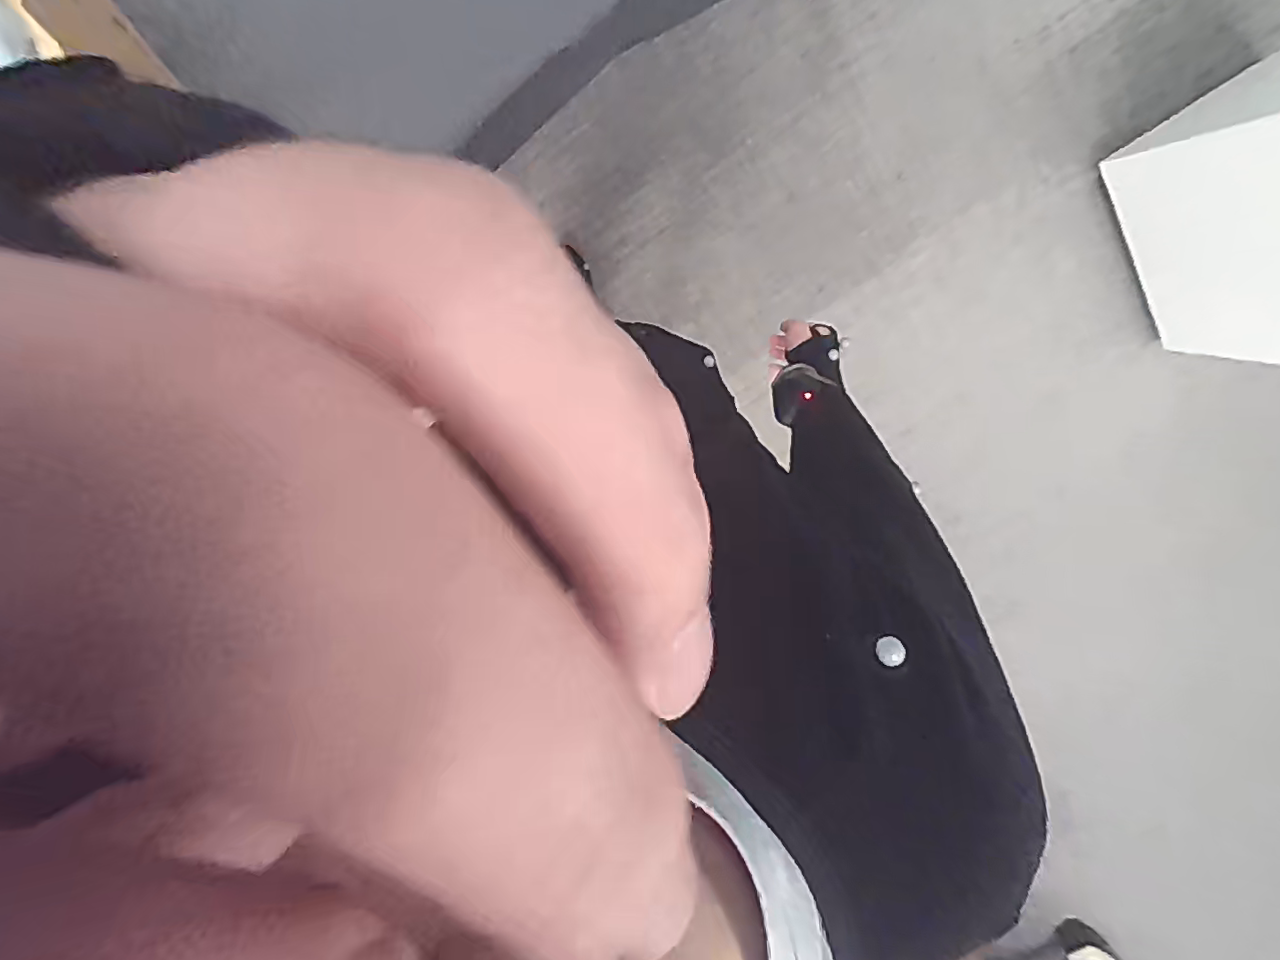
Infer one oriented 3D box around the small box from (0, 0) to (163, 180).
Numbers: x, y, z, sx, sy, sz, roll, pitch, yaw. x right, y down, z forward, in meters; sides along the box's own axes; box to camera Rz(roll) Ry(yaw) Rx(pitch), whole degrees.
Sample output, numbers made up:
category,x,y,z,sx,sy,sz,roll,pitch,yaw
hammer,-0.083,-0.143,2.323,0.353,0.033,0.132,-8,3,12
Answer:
category,x,y,z,sx,sy,sz,roll,pitch,yaw
small box,-0.674,-0.458,0.574,0.179,0.176,0.168,-34,104,13
